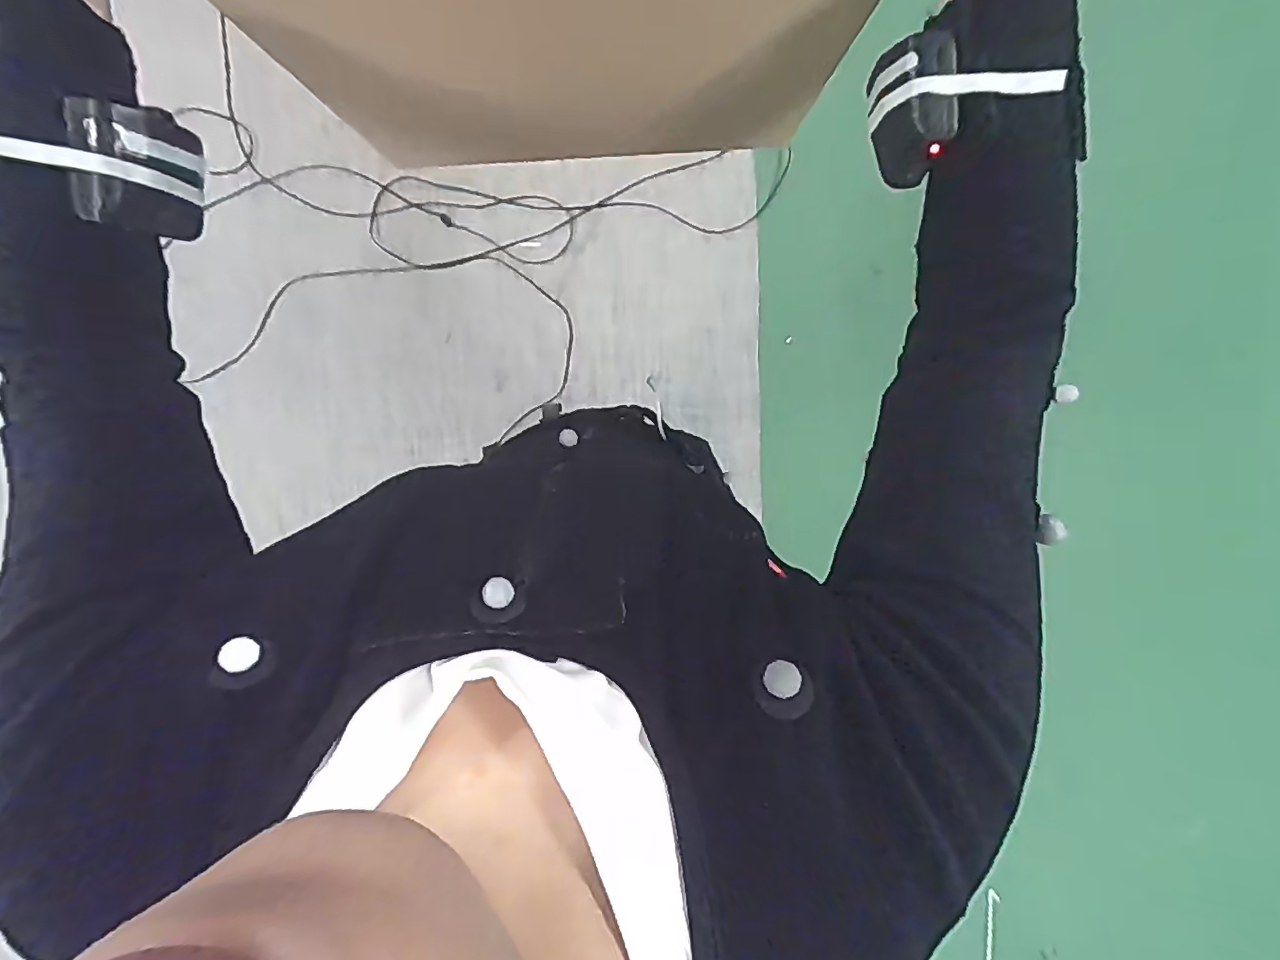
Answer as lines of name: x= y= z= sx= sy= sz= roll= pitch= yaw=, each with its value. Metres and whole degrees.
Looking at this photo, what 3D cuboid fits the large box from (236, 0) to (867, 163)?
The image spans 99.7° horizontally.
large box: x=-0.057 y=-0.457 z=0.377 sx=0.408 sy=0.320 sz=0.320 roll=-4 pitch=102 yaw=-1
